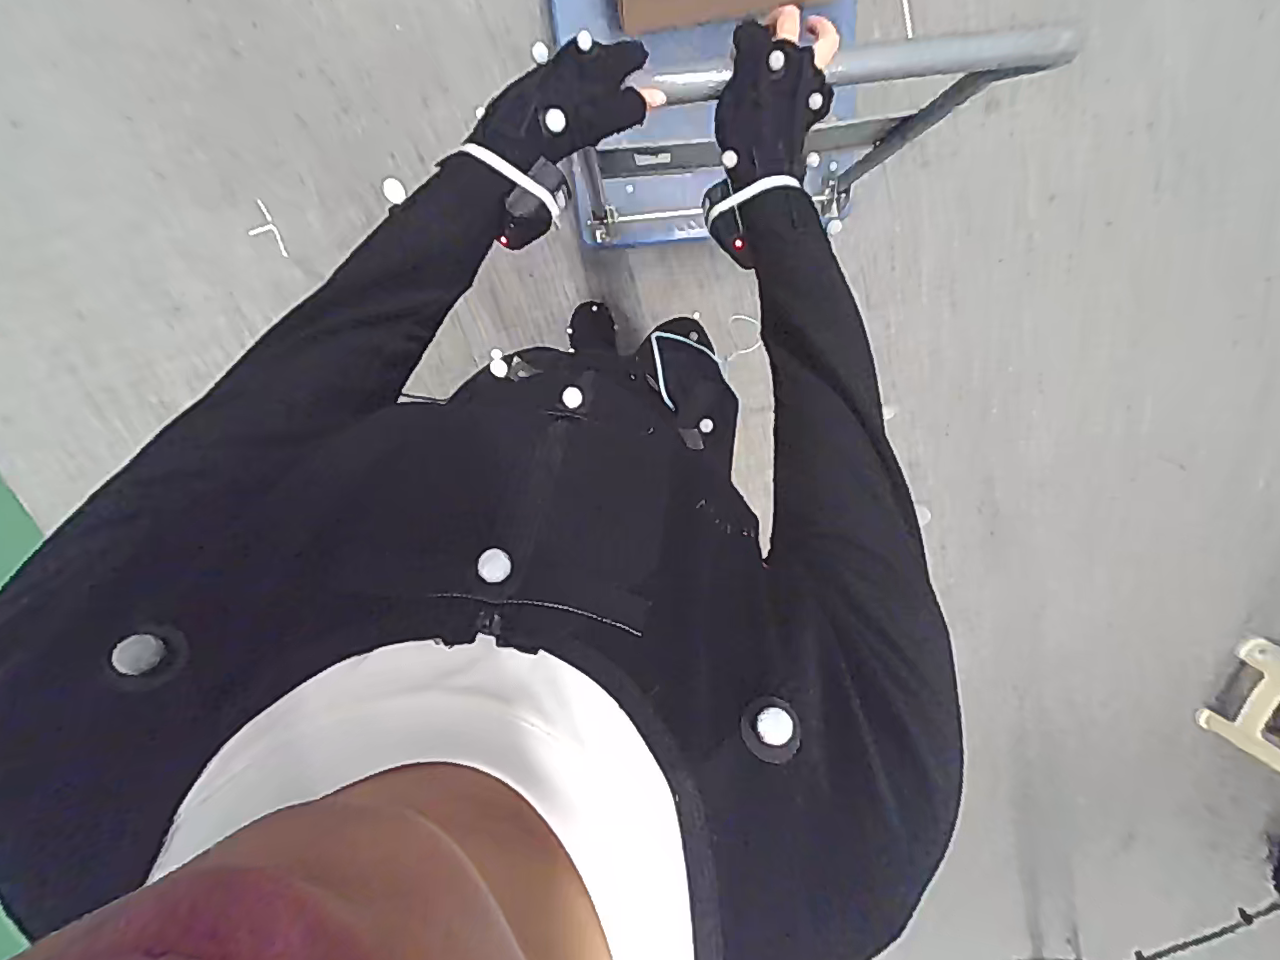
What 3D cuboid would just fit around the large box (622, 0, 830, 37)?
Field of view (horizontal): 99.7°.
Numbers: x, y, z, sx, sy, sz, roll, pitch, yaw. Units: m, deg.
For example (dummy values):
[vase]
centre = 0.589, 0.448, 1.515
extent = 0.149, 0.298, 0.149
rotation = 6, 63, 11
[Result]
[large box]
centre = 0.154, -0.975, 0.851
extent = 0.408, 0.320, 0.320
rotation = -8, 108, 2
